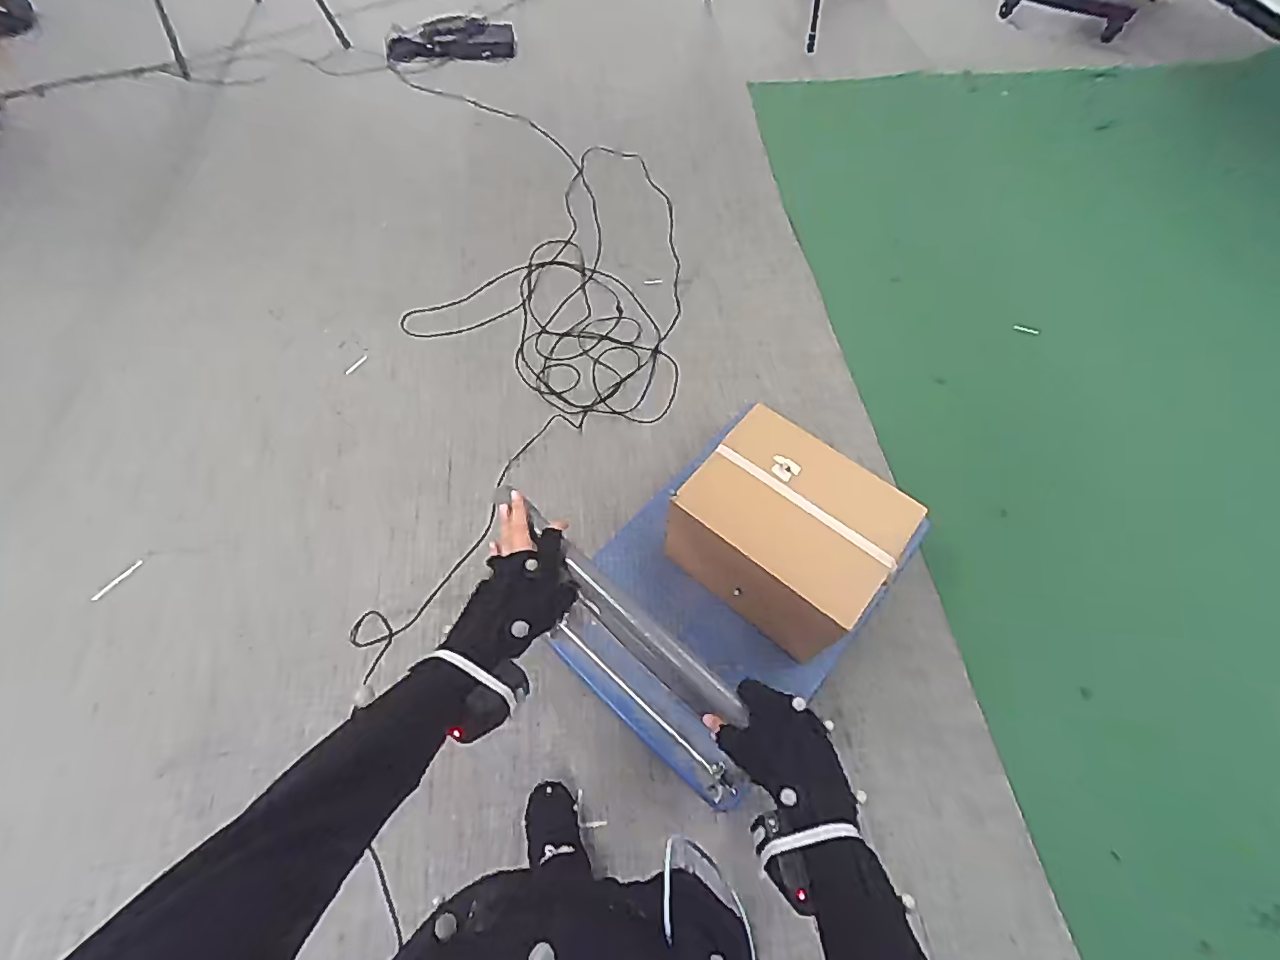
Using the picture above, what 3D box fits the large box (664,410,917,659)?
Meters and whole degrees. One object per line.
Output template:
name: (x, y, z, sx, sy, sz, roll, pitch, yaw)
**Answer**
large box: (0.303, 0.126, 1.199, 0.408, 0.320, 0.320, 36, 66, 18)
